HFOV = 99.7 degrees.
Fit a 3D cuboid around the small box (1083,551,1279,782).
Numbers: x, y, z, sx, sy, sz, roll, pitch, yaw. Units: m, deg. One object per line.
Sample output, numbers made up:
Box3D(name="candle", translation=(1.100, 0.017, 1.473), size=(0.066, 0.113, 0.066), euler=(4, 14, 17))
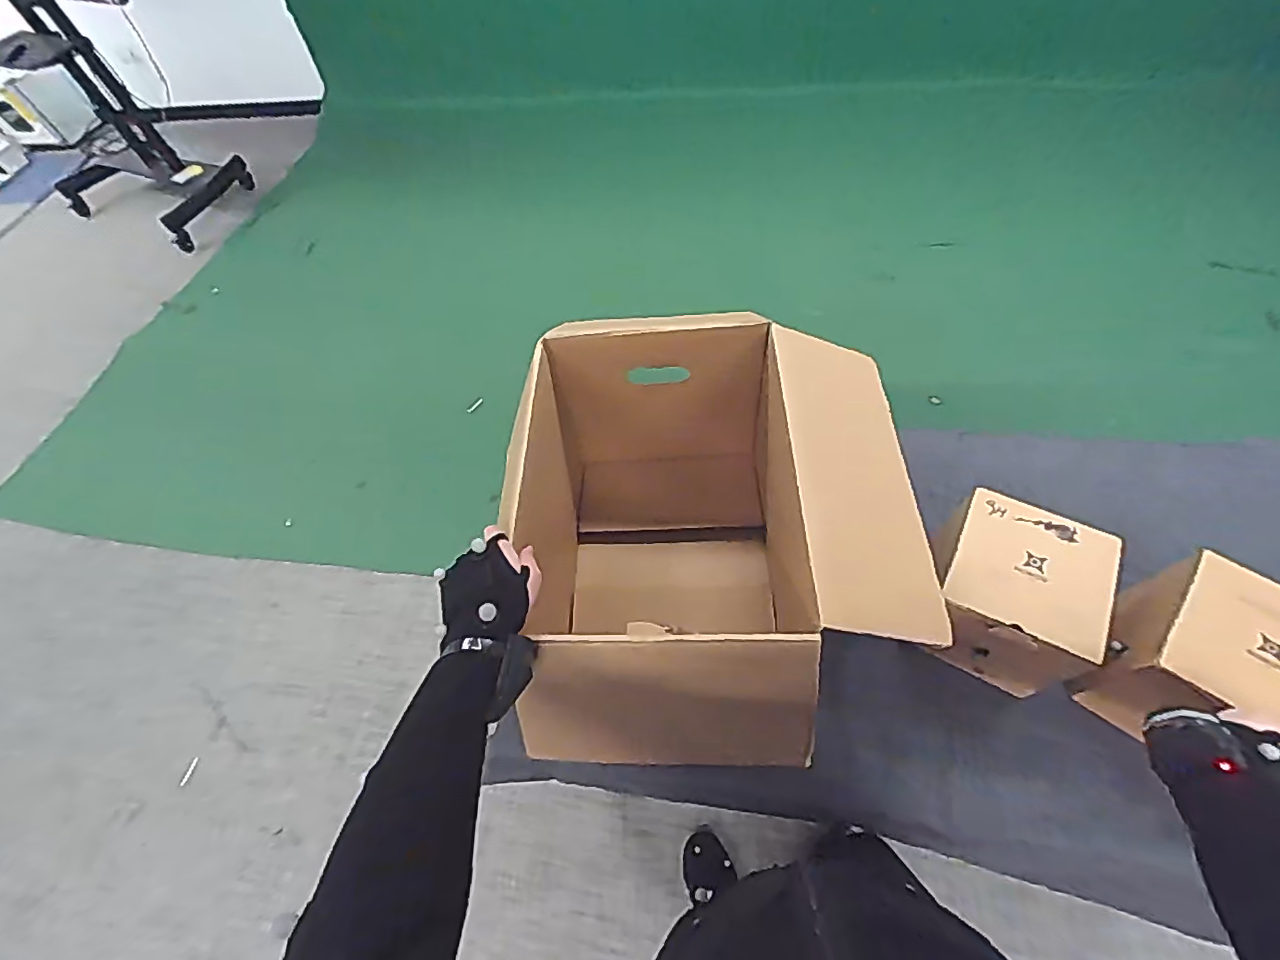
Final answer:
Box3D(name="small box", translation=(0.674, 0.223, 0.634), size=(0.168, 0.176, 0.179), euler=(34, 67, 24))
